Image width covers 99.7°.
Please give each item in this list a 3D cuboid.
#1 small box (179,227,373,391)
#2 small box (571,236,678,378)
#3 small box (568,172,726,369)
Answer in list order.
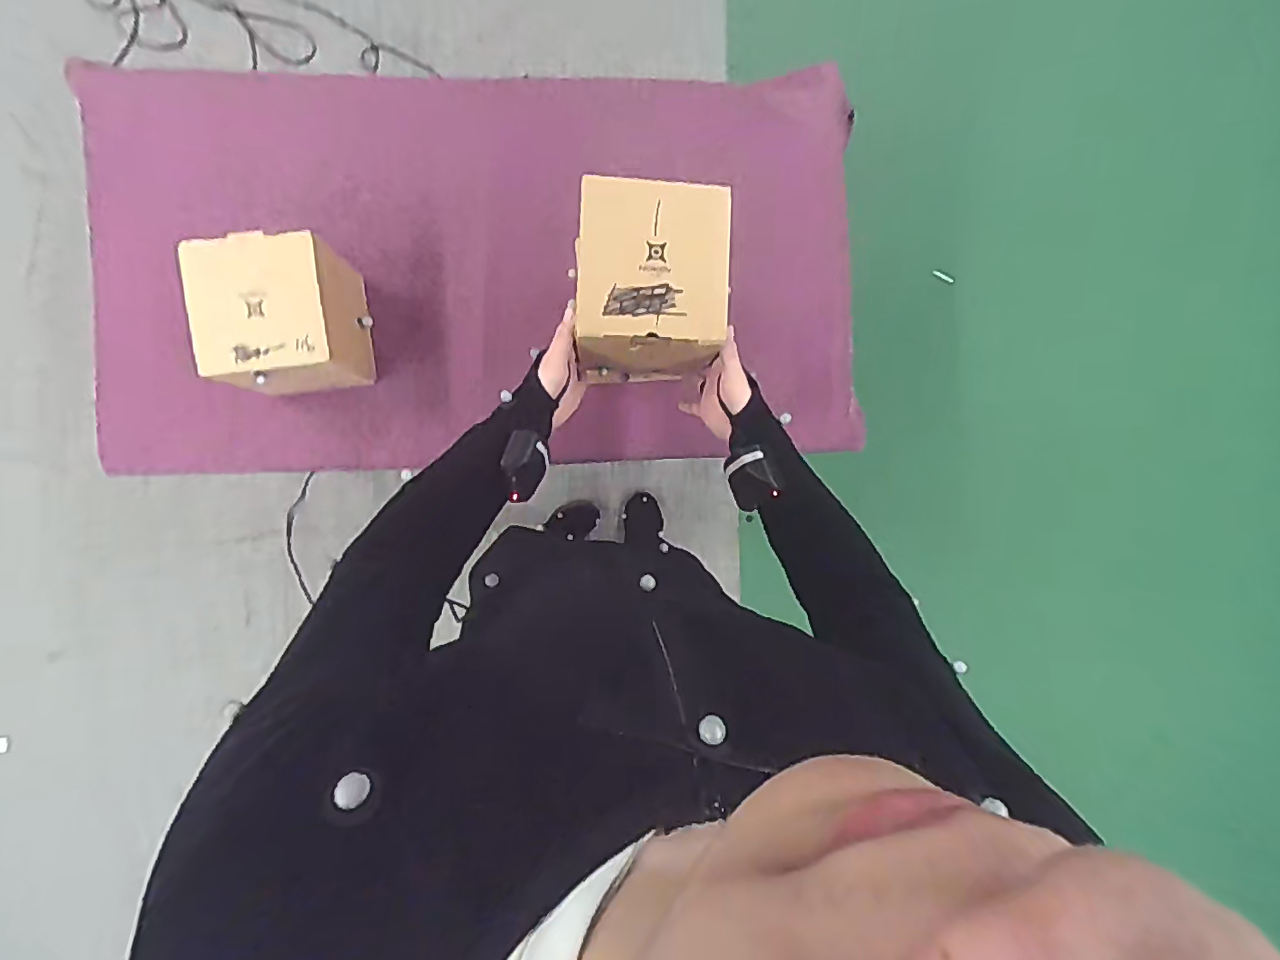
[{"bbox_3d":[-0.509,-0.236,0.781,0.168,0.176,0.179,-8,91,-5],"label":"small box"},{"bbox_3d":[-0.014,-0.257,0.830,0.168,0.176,0.179,-4,90,-5],"label":"small box"},{"bbox_3d":[0.003,-0.239,0.663,0.168,0.176,0.179,3,89,-5],"label":"small box"}]
